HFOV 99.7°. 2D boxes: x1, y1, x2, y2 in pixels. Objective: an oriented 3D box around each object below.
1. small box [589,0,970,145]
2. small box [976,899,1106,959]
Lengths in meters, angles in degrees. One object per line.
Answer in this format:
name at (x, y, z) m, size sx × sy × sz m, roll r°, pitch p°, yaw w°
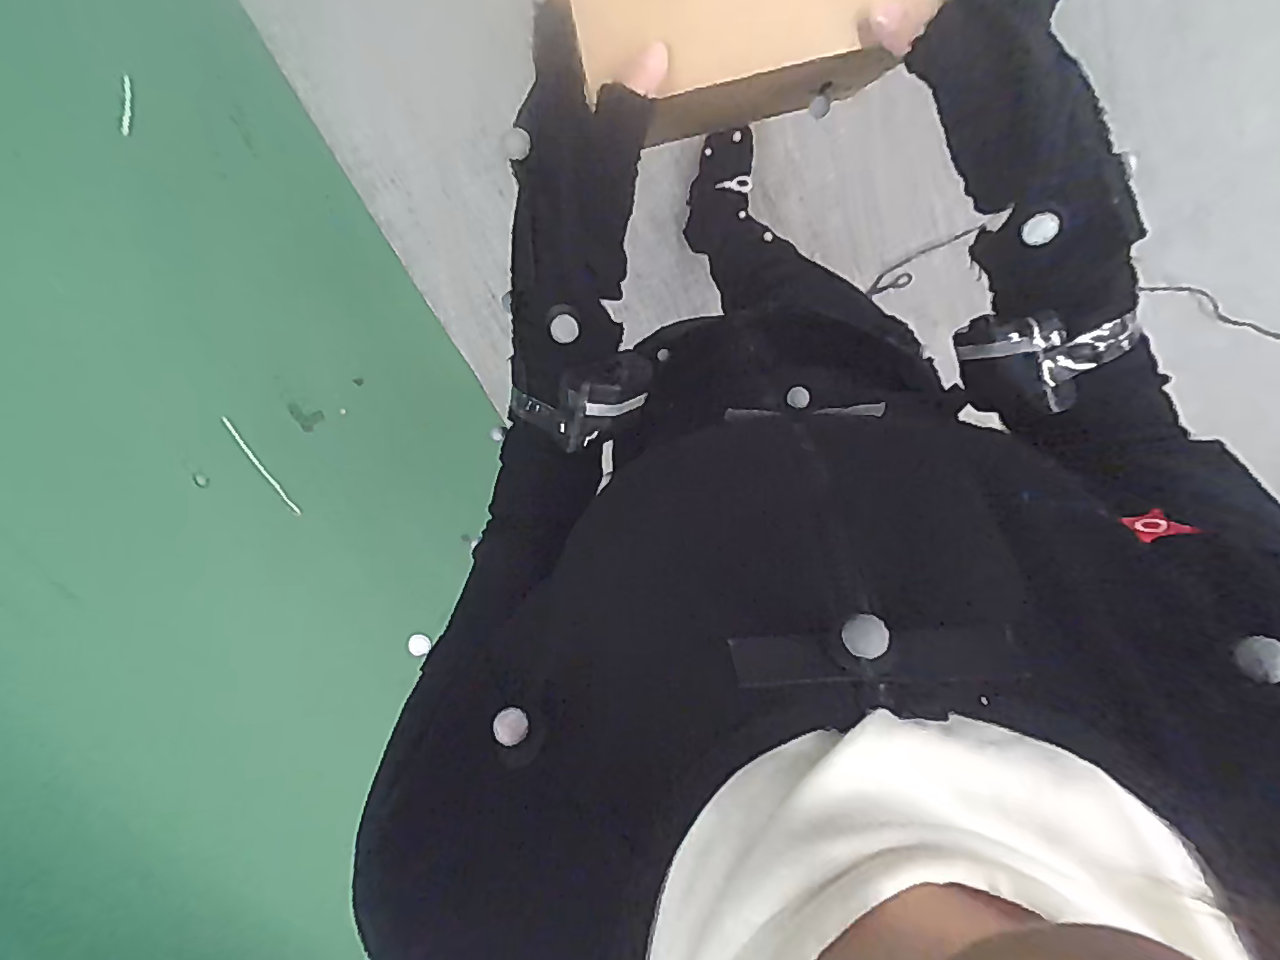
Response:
small box at (0.052, -0.305, 0.292) m, size 0.179 × 0.176 × 0.168 m, roll -14°, pitch 114°, yaw 8°
small box at (0.730, 0.879, 0.954) m, size 0.168 × 0.176 × 0.179 m, roll -24°, pitch 112°, yaw 11°
